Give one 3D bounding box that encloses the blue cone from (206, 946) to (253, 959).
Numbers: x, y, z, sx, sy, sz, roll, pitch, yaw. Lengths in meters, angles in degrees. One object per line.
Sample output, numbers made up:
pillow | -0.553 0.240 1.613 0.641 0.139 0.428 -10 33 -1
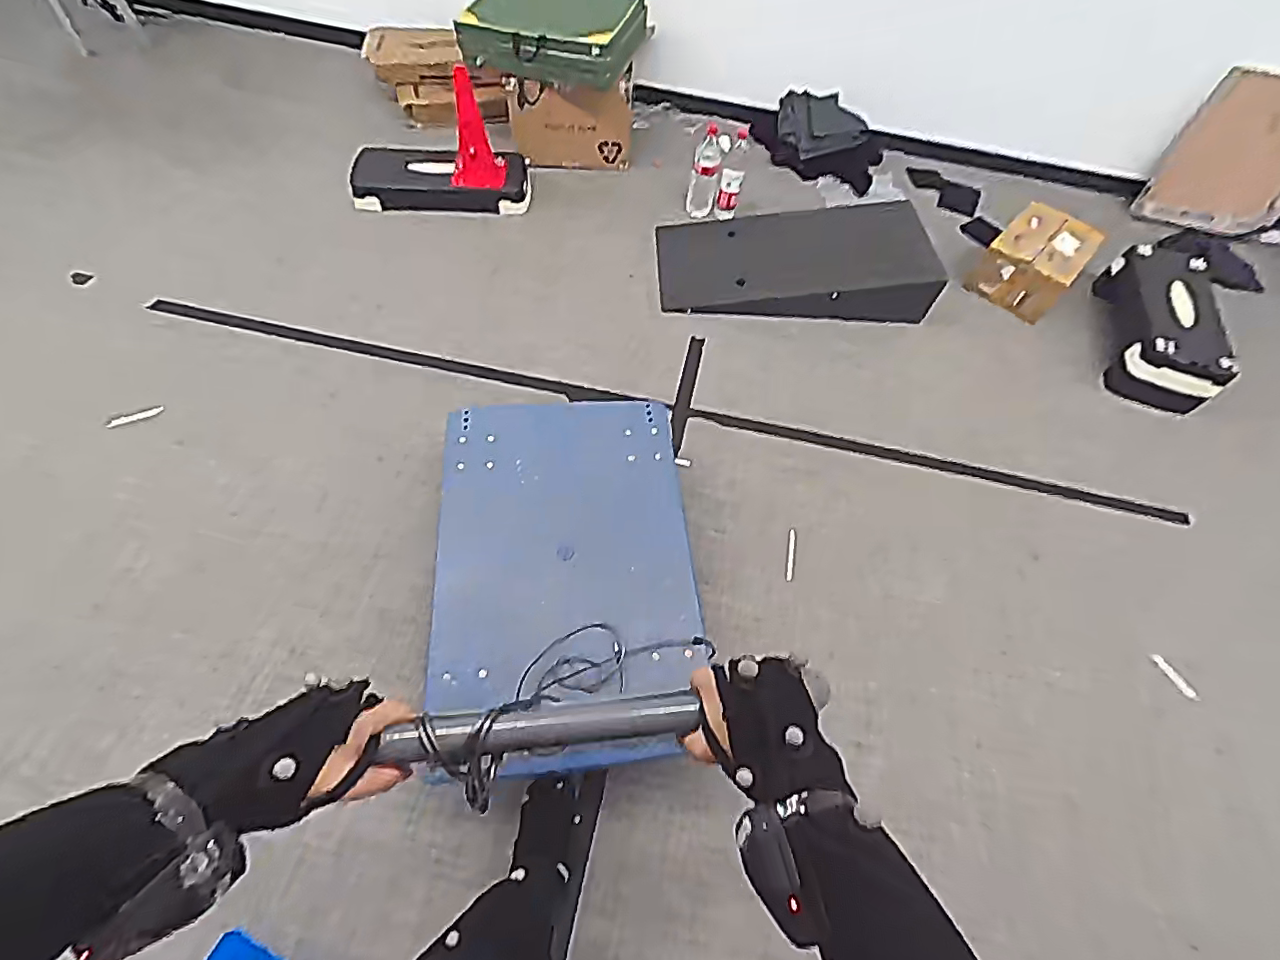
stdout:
blue cone | -0.692 0.838 0.766 0.193 0.380 0.192 26 60 10
